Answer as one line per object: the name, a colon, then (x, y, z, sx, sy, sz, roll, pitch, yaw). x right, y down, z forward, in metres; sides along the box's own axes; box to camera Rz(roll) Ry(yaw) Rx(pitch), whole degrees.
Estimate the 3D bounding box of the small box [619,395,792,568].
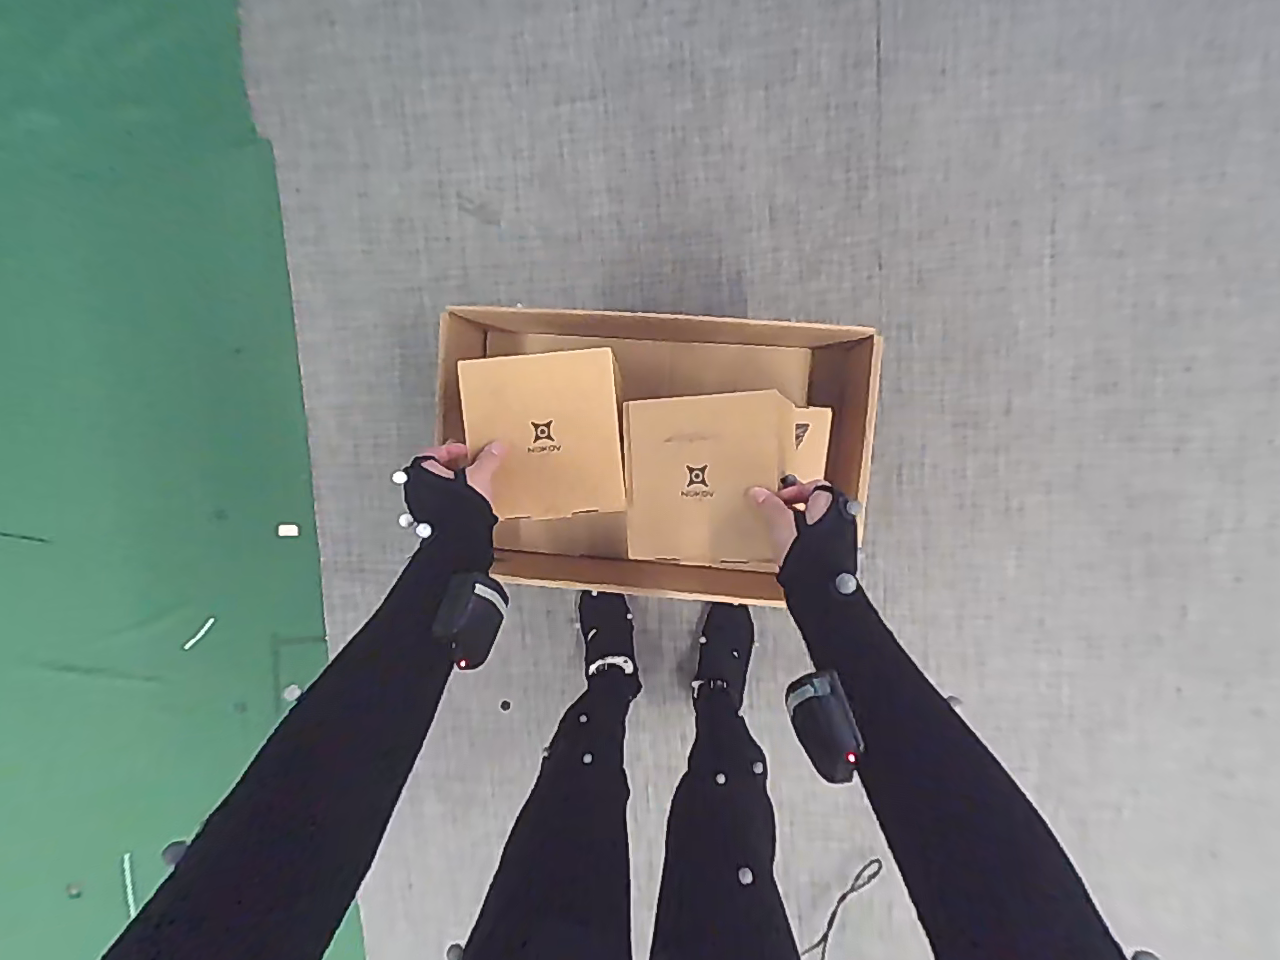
small box: (0.086, -0.001, 0.639, 0.168, 0.176, 0.179, -1, 91, 23)
